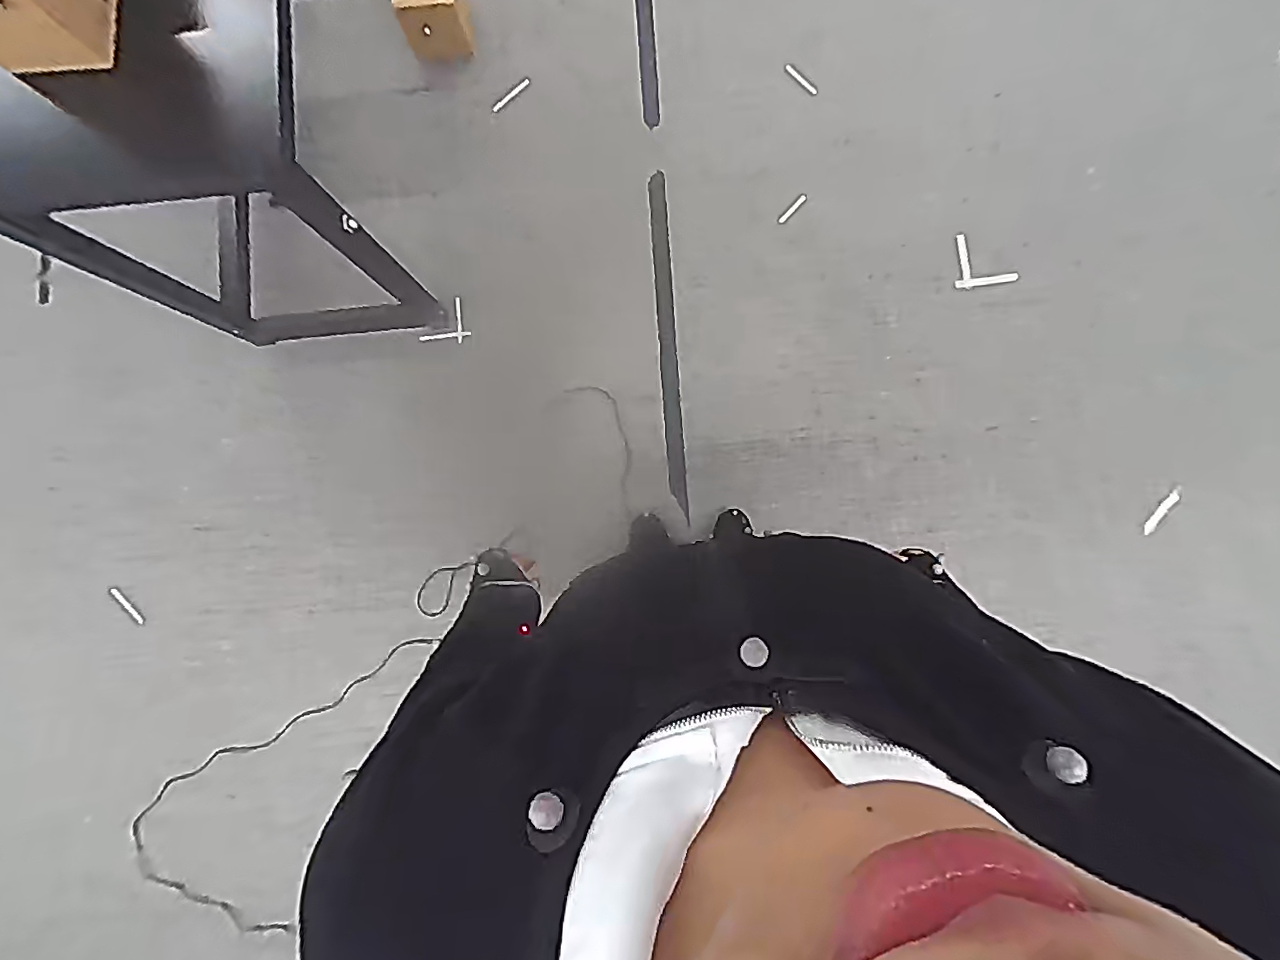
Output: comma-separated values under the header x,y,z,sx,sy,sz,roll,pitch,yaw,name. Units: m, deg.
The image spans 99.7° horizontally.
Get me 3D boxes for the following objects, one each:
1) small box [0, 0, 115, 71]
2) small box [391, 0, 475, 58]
x,y,z,sx,sy,sz,roll,pitch,yaw,name
-0.933,-0.746,0.797,0.179,0.176,0.168,-2,86,2,small box
-0.593,-1.360,1.555,0.179,0.176,0.168,-6,87,2,small box
